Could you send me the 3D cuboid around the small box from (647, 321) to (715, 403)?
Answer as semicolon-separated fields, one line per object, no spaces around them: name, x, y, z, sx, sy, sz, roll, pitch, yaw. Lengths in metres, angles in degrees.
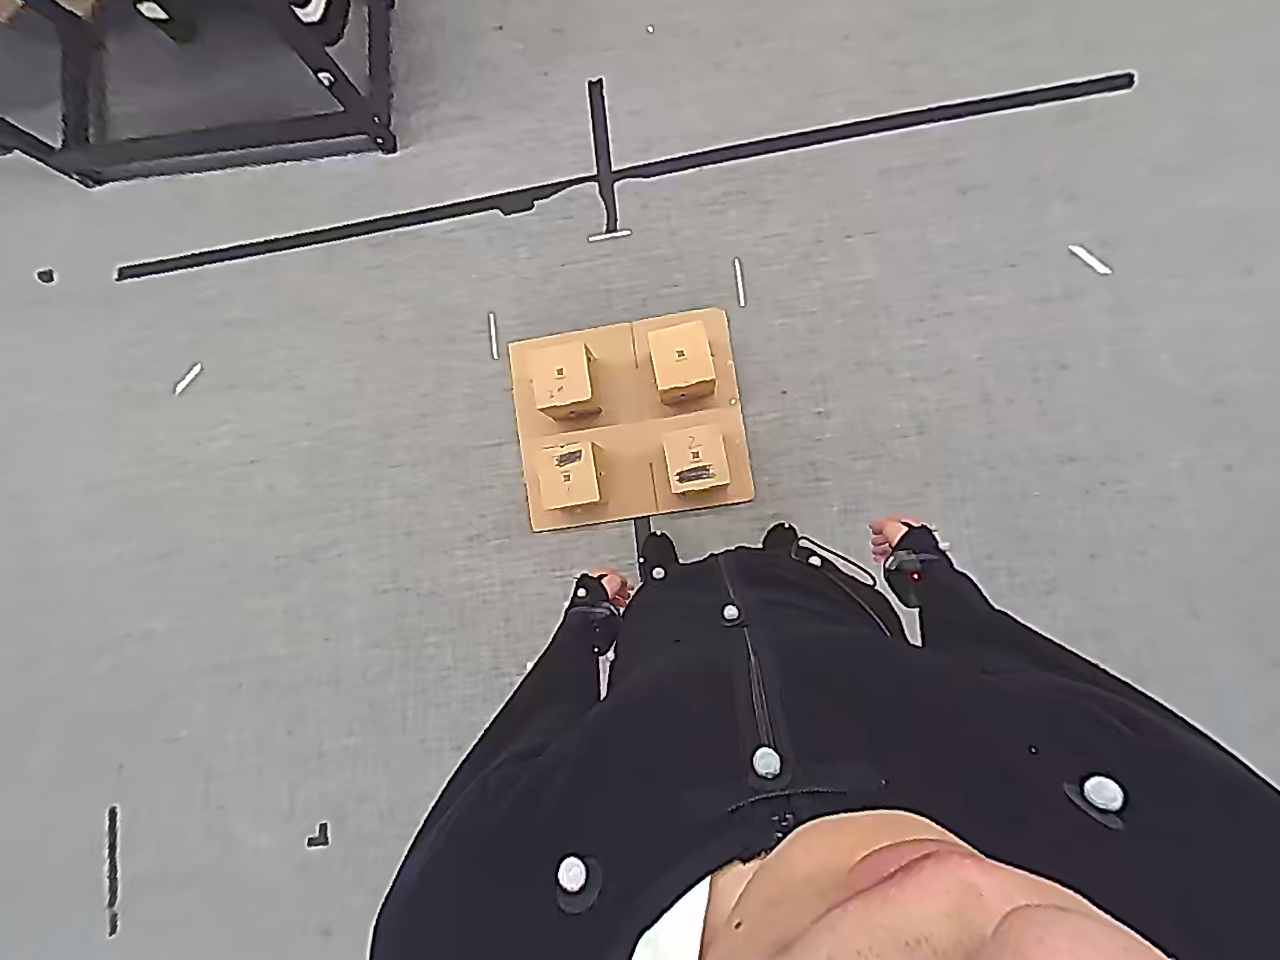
small box;0.119;-0.340;1.589;0.168;0.176;0.179;-12;85;5

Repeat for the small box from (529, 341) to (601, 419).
small box;-0.220;-0.293;1.614;0.168;0.176;0.179;-9;86;6

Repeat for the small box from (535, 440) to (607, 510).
small box;-0.199;-0.009;1.594;0.168;0.176;0.179;-10;86;6
